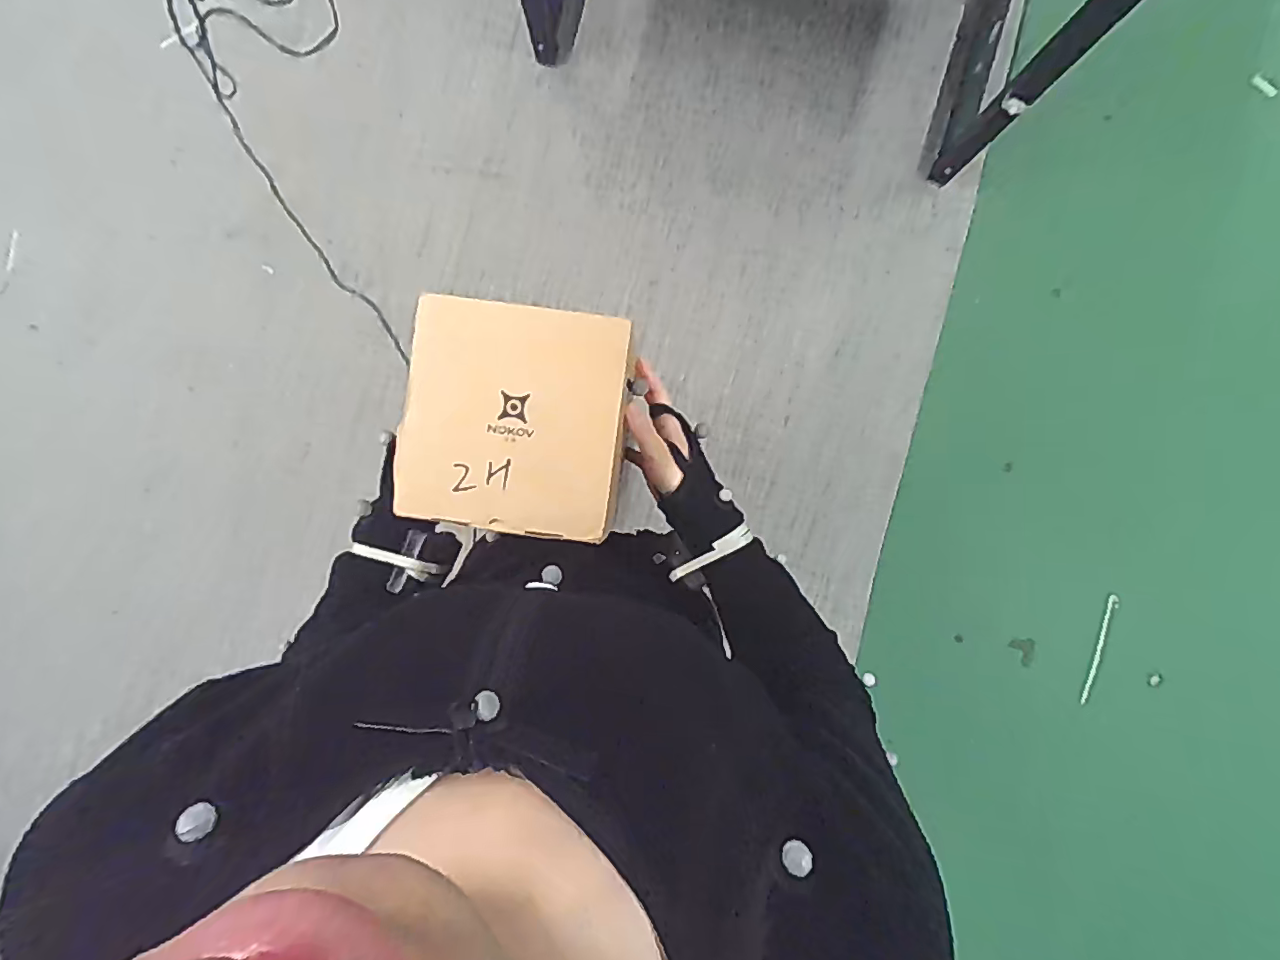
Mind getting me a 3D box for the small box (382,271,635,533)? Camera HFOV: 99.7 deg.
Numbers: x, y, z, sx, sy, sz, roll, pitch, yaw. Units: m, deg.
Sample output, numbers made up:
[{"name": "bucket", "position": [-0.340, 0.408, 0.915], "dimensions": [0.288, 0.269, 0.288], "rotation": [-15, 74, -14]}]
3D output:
[{"name": "small box", "position": [-0.096, -0.057, 0.476], "dimensions": [0.168, 0.176, 0.179], "rotation": [8, 90, 1]}]
